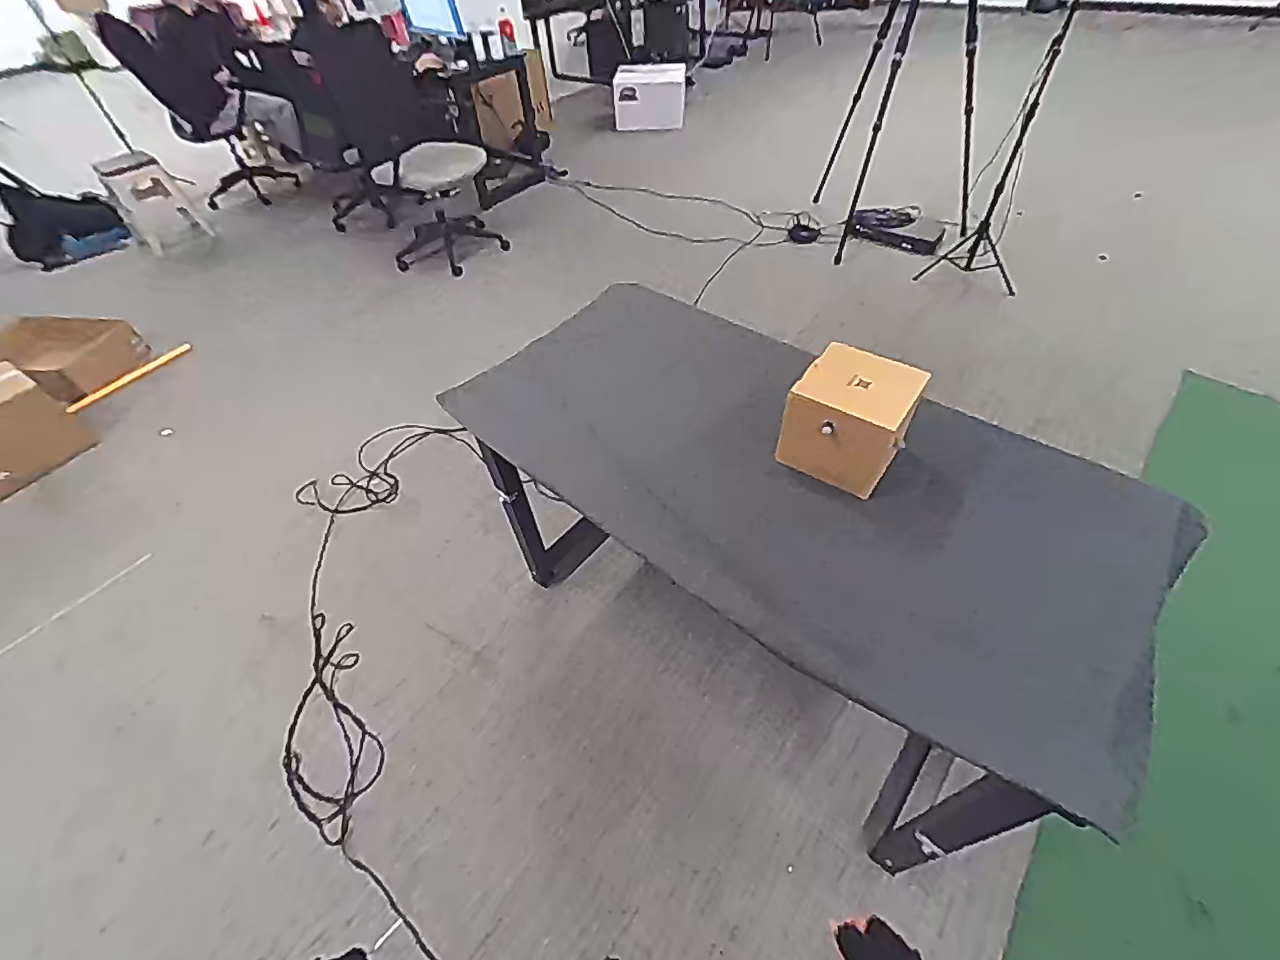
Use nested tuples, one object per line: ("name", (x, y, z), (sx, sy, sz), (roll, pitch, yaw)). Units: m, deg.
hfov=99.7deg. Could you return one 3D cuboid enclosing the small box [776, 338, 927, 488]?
("small box", (0.357, -0.111, 0.936), (0.179, 0.176, 0.168), (28, 57, 26))
